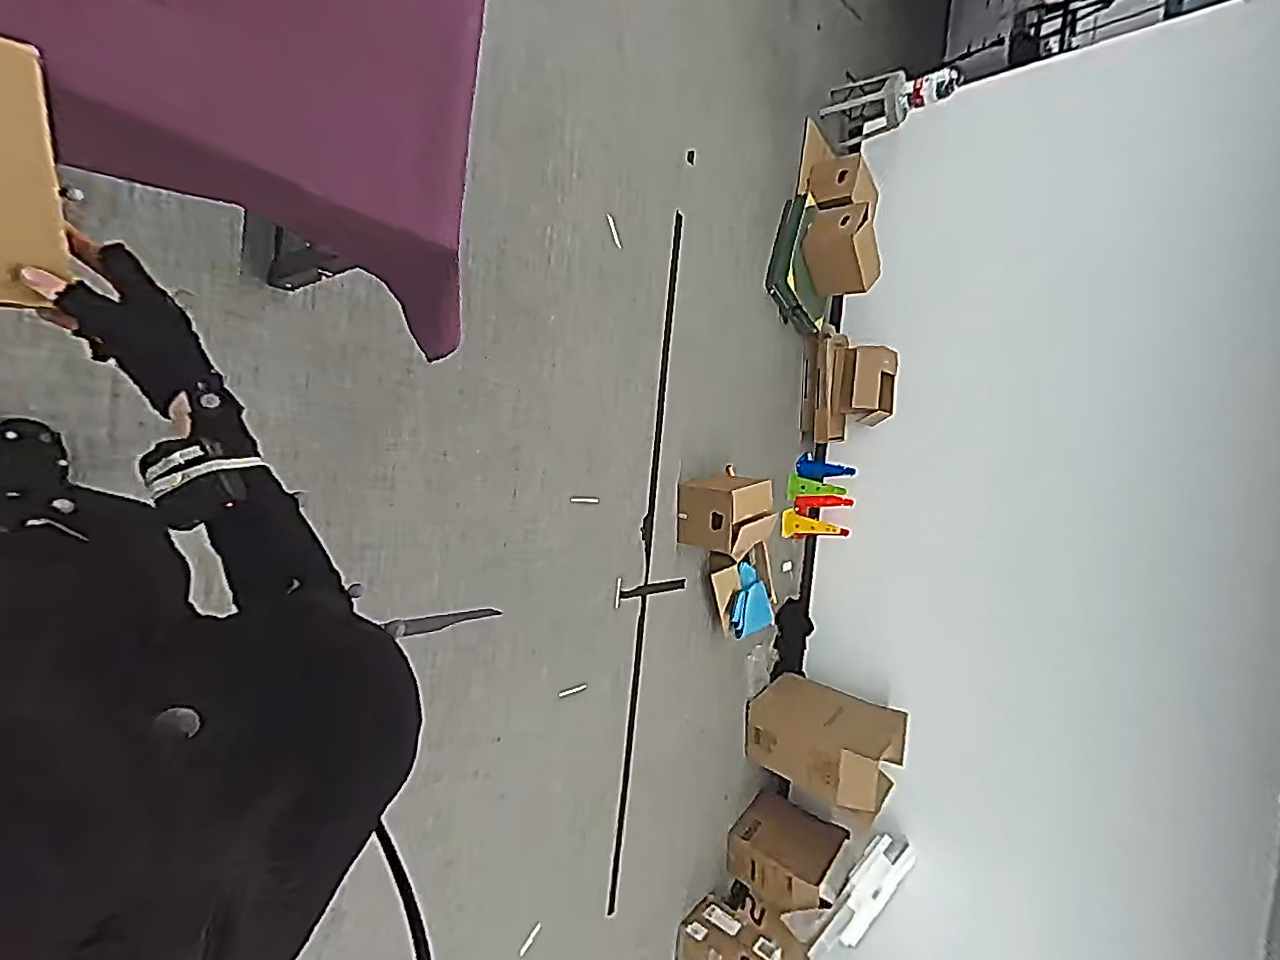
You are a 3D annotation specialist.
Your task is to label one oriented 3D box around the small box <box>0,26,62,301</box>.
[{"bbox_3d":[-0.528,-0.242,0.370,0.168,0.176,0.179,-10,125,-47],"label":"small box"}]
